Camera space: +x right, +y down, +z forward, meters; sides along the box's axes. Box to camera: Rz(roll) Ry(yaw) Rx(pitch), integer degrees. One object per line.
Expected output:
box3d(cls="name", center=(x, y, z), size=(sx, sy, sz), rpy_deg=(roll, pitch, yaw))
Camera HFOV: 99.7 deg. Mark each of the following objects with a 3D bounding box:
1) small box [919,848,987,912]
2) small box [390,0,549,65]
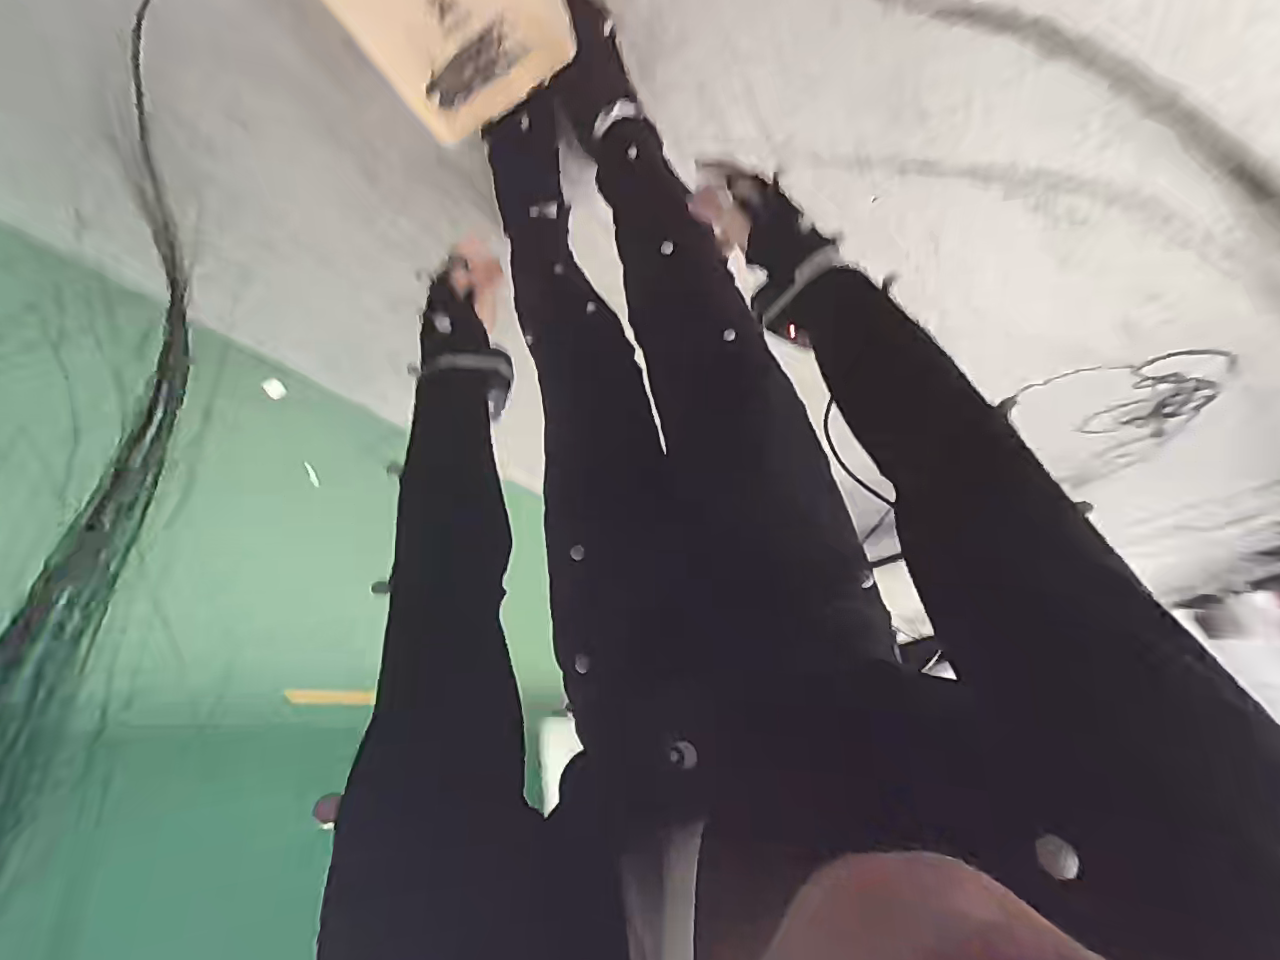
box3d(cls="small box", center=(1.216, 1.560, 2.116), size=(0.168, 0.176, 0.179), rpy_deg=(-19, 147, 11))
box3d(cls="small box", center=(-0.222, -0.630, 0.605), size=(0.168, 0.176, 0.179), rpy_deg=(-20, 150, 12))
